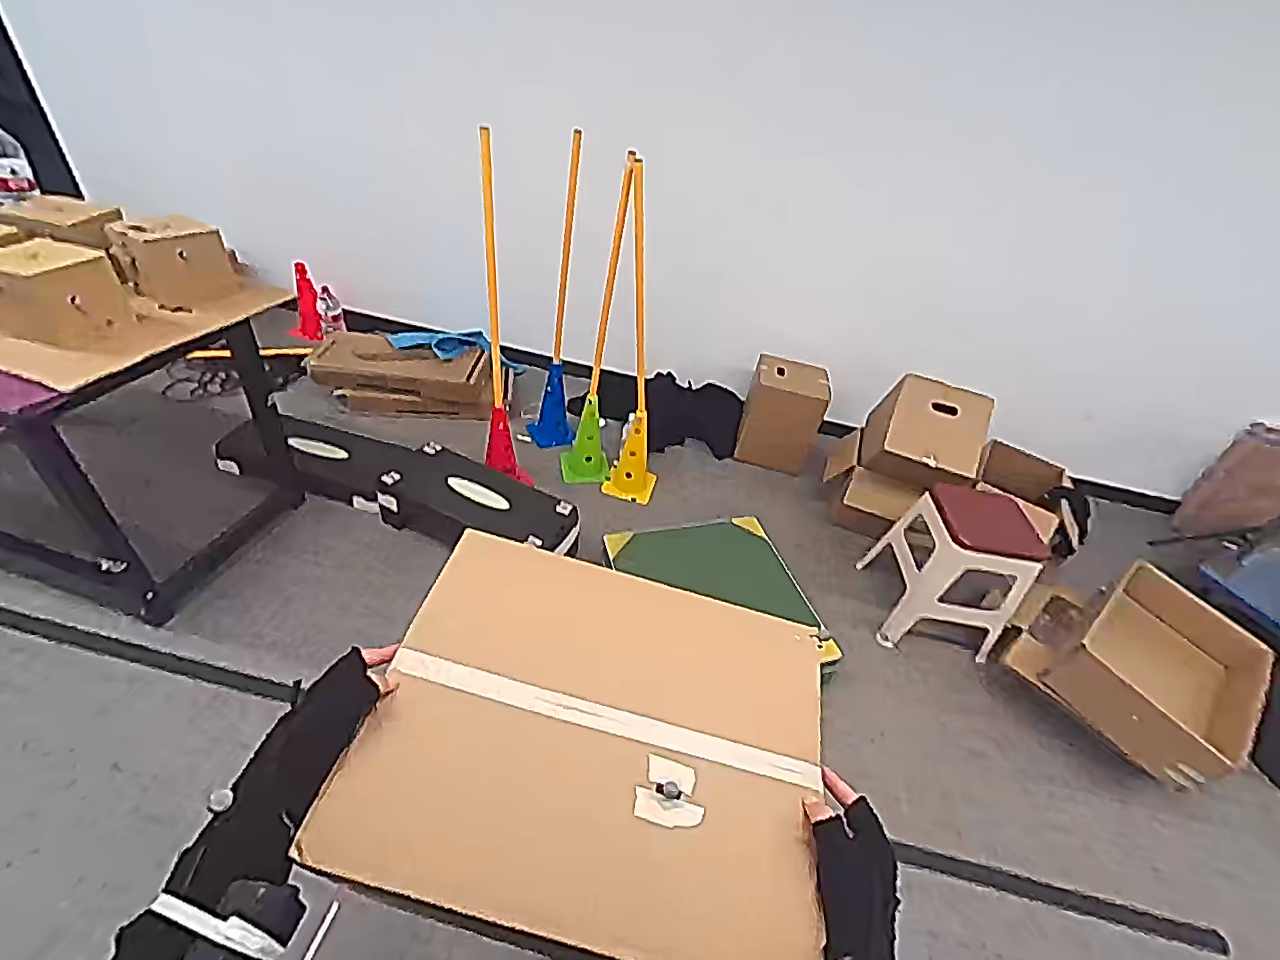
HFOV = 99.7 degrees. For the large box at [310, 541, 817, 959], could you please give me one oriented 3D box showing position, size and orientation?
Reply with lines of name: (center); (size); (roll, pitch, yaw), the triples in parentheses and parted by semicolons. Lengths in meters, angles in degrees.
large box: (-0.059, 0.323, 0.612); (0.408, 0.320, 0.320); (16, 48, 0)
